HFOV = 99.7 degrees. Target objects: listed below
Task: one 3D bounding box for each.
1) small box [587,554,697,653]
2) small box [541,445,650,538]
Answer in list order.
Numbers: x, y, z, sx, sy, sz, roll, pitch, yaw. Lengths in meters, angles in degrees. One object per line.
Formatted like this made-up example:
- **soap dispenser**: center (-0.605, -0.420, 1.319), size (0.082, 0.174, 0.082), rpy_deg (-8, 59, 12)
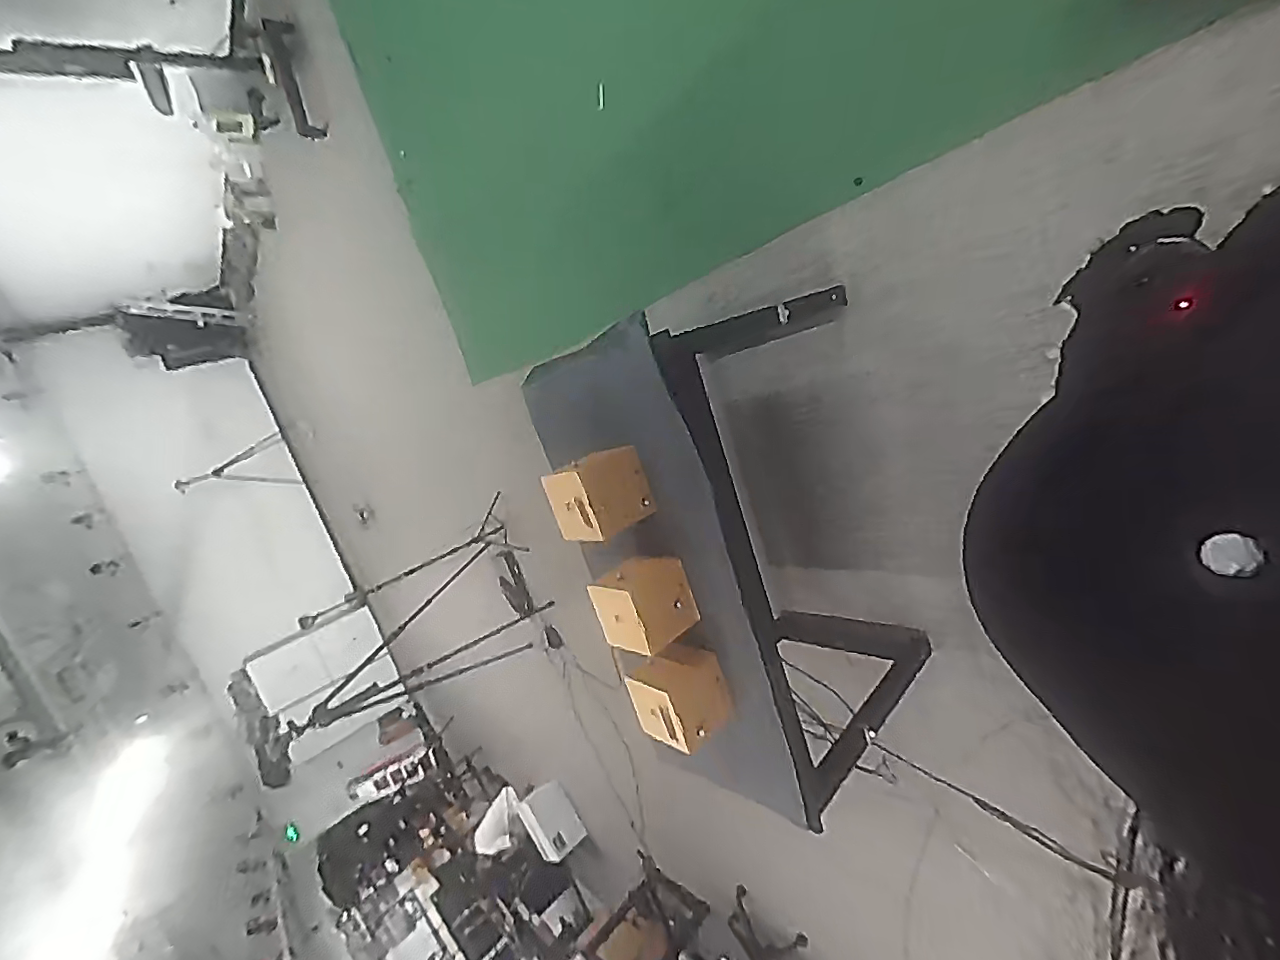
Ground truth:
- **small box**: center (0.007, 0.288, 1.301), size (0.179, 0.176, 0.168), rpy_deg (-7, 104, 51)
- **small box**: center (-0.096, 0.027, 1.265), size (0.179, 0.176, 0.168), rpy_deg (-7, 105, 52)
